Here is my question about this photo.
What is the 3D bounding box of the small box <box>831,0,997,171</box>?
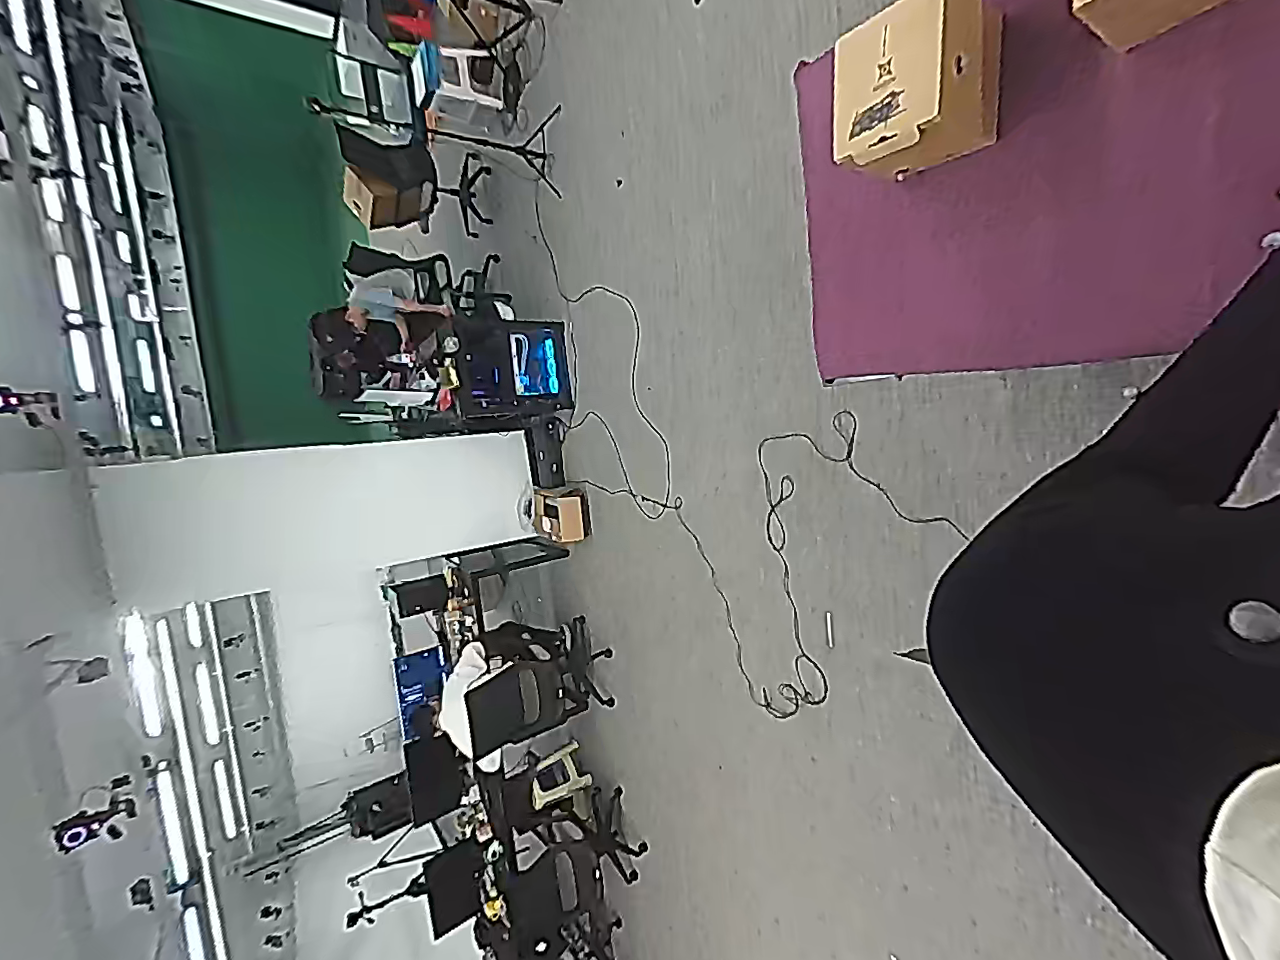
[{"bbox_3d":[0.408,-0.586,0.810,0.168,0.176,0.179,11,107,54],"label":"small box"}]
